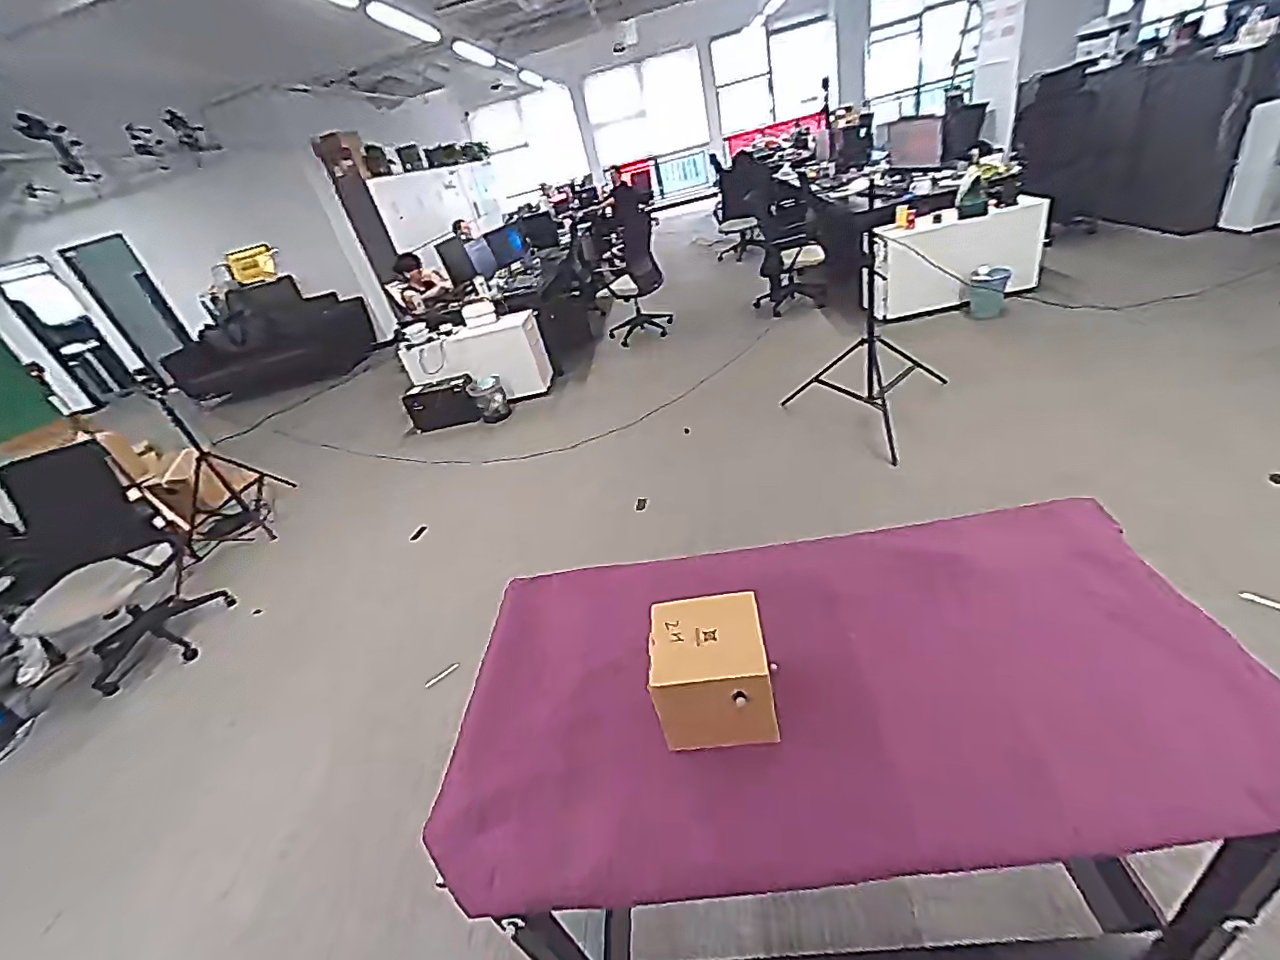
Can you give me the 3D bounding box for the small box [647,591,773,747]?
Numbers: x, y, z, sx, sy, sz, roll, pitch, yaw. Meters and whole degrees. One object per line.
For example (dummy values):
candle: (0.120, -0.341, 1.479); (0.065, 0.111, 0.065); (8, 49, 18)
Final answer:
small box: (0.116, 0.307, 0.877); (0.179, 0.176, 0.168); (-10, 31, 9)
